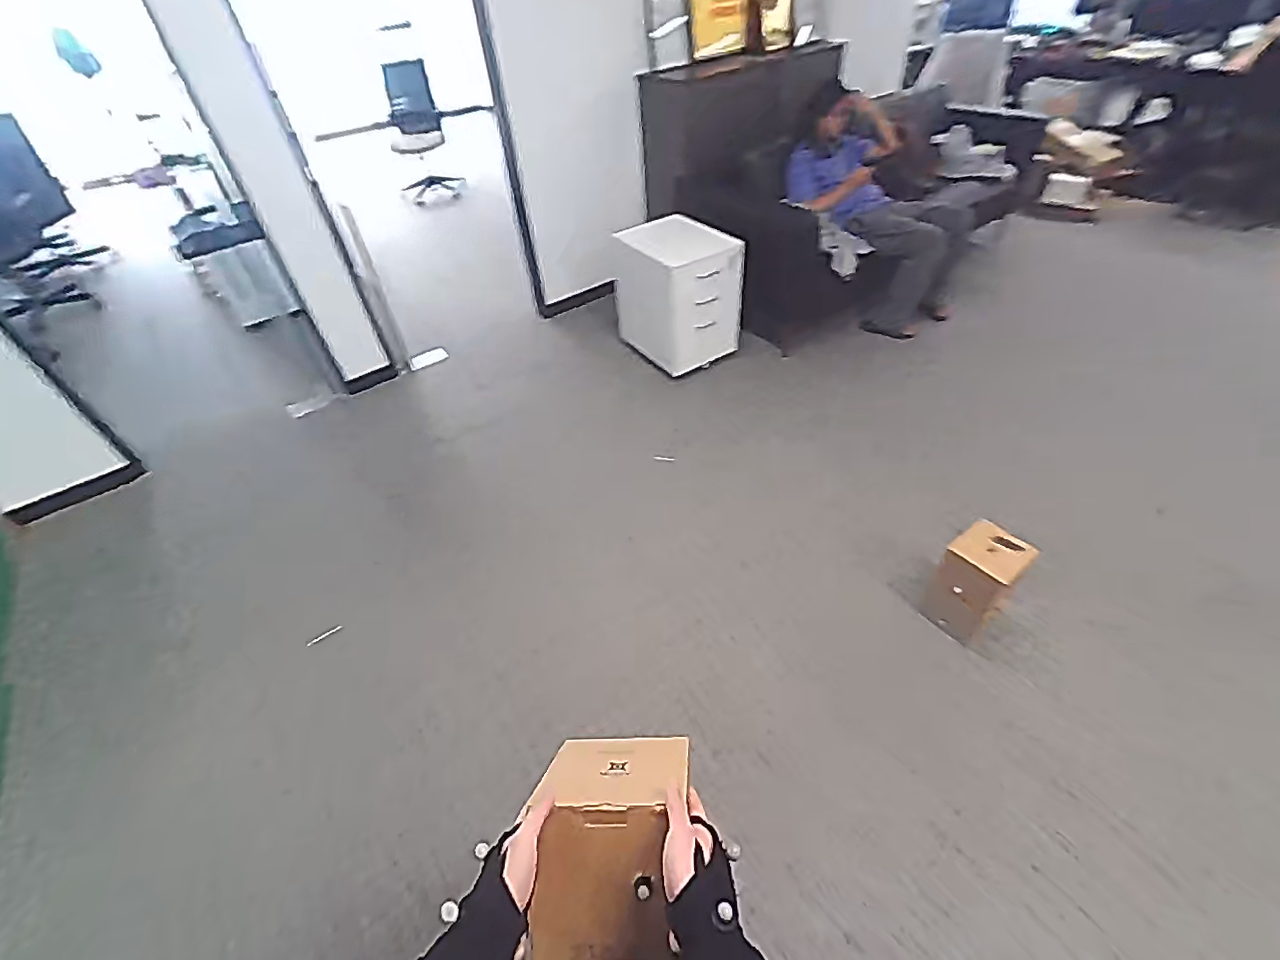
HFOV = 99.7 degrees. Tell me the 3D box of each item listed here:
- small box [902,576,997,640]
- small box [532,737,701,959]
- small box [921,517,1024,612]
[{"bbox_3d":[0.964,0.376,1.698,0.168,0.176,0.179,-31,50,-24],"label":"small box"},{"bbox_3d":[-0.018,0.415,0.620,0.168,0.179,0.176,-2,85,5],"label":"small box"},{"bbox_3d":[0.951,0.245,1.566,0.179,0.176,0.168,-26,47,-22],"label":"small box"}]
